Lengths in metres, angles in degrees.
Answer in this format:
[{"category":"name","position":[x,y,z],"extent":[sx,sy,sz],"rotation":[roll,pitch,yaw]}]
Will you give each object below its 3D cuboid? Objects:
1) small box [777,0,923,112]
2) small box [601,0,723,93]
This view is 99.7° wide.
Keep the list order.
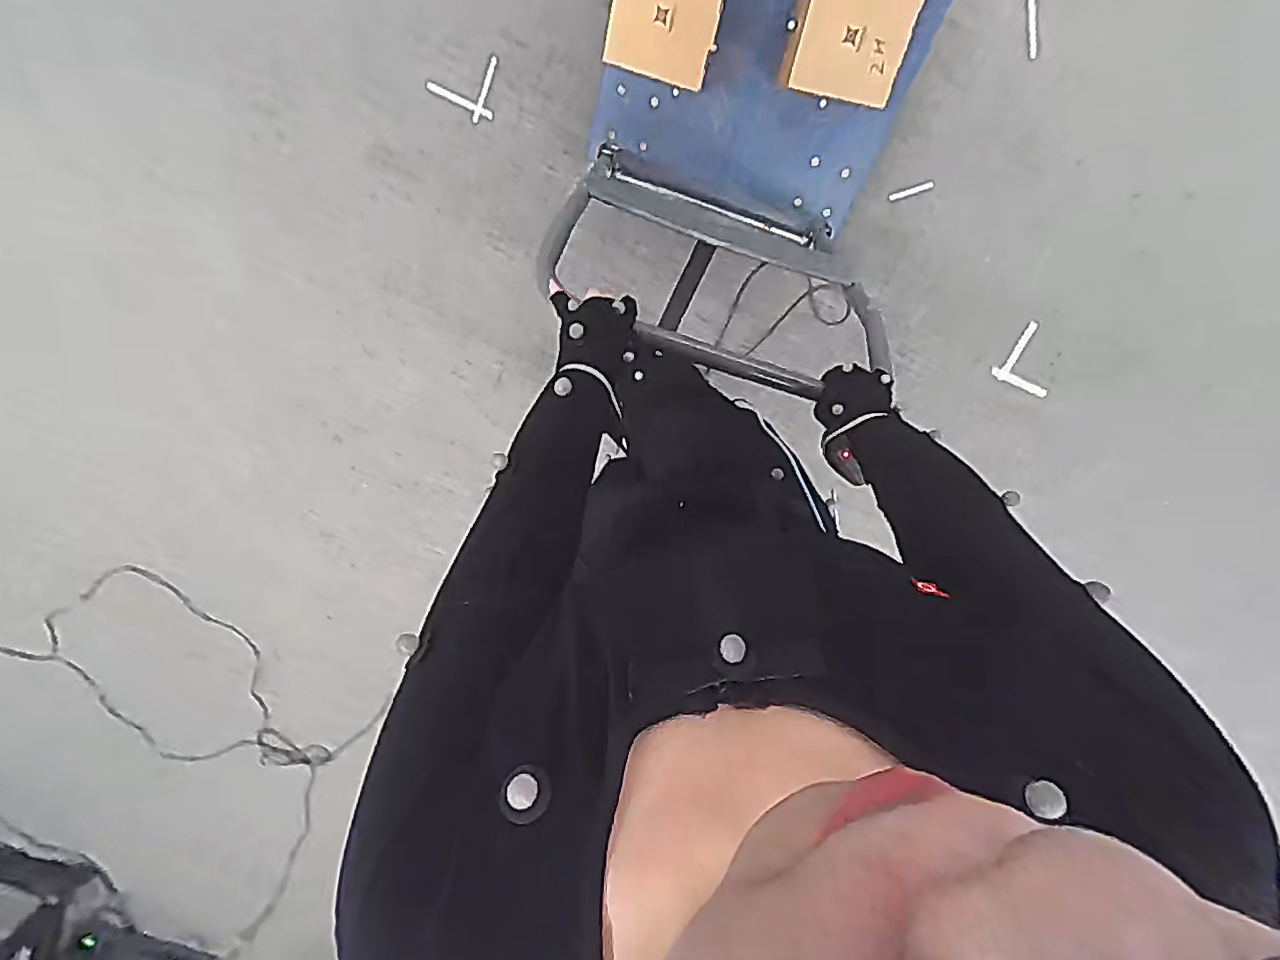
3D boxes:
[{"category":"small box","position":[0.351,-0.760,0.943],"extent":[0.179,0.176,0.168],"rotation":[11,127,-3]},{"category":"small box","position":[0.041,-0.799,0.946],"extent":[0.179,0.176,0.168],"rotation":[13,126,-7]}]
